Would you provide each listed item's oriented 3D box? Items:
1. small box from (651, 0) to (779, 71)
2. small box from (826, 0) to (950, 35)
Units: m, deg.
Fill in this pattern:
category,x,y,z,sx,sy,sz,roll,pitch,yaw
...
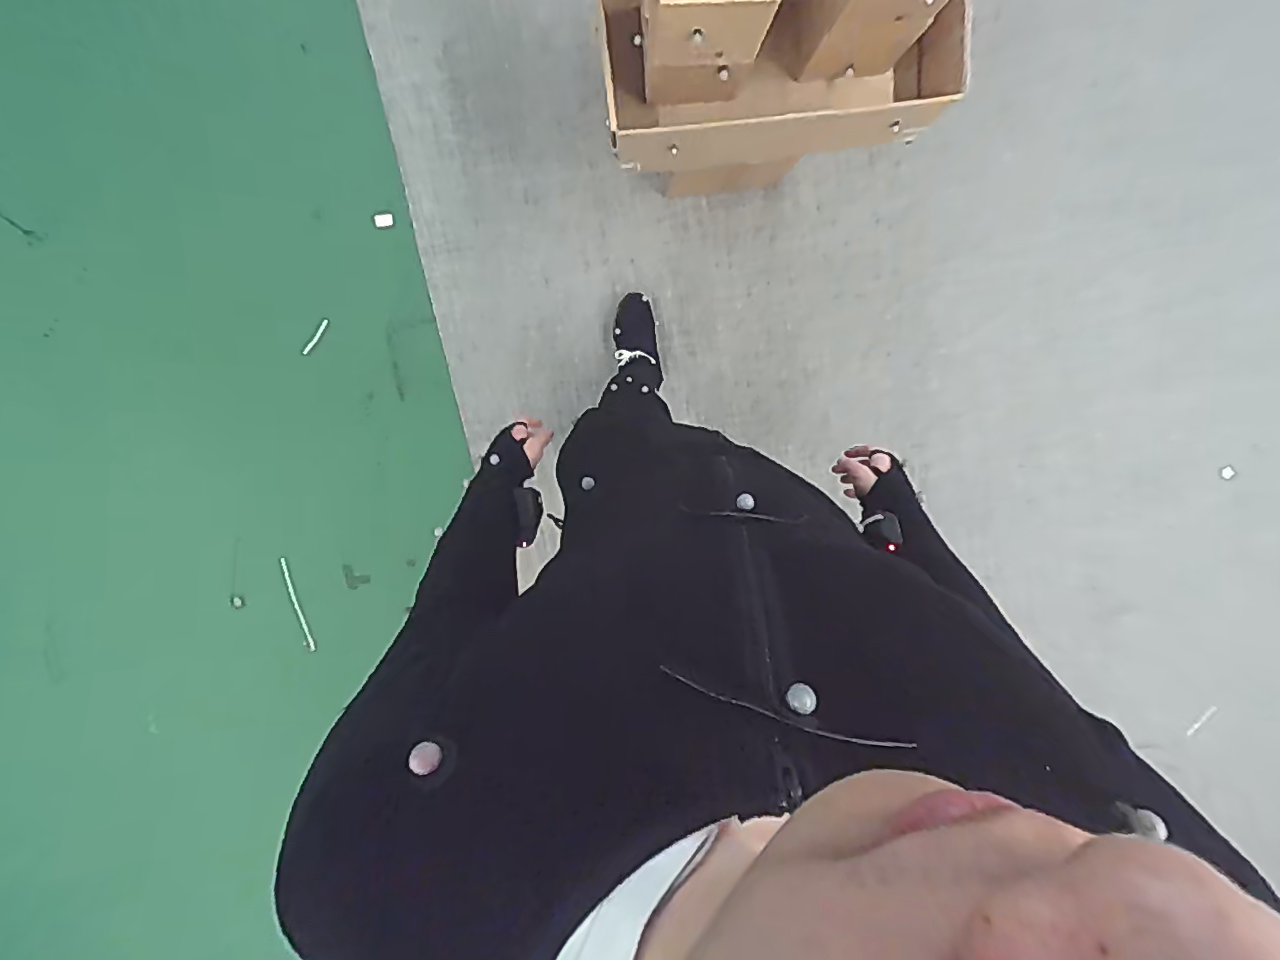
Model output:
category,x,y,z,sx,sy,sz,roll,pitch,yaw
small box,0.102,-0.724,0.781,0.168,0.176,0.179,-3,102,-1
small box,0.376,-0.779,0.774,0.168,0.176,0.179,-6,102,-1
